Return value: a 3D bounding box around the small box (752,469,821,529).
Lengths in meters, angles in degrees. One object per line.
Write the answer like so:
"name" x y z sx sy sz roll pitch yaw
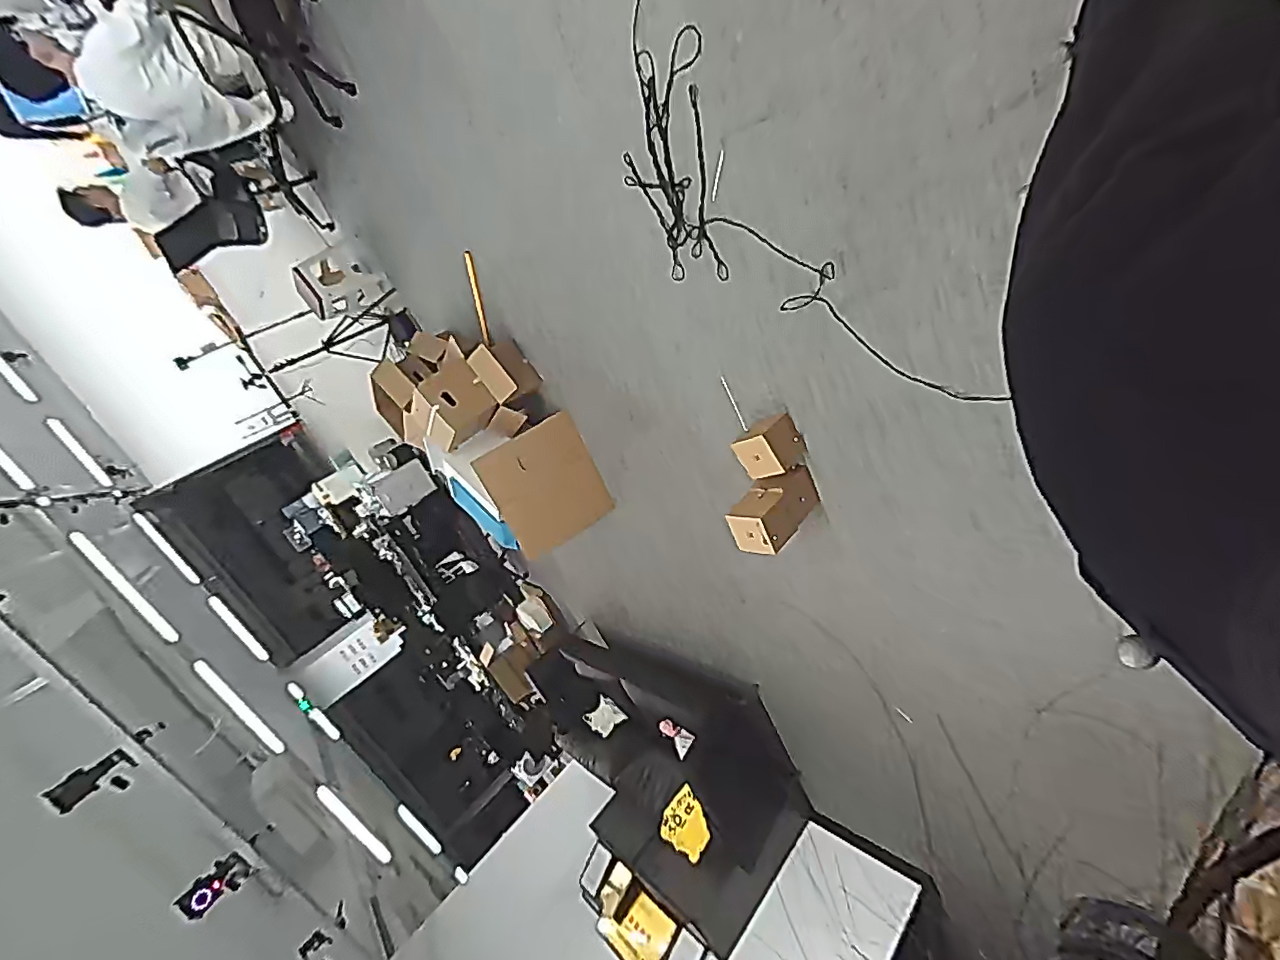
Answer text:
"small box" 0.570 0.067 2.096 0.168 0.176 0.179 0 124 54

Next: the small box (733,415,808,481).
"small box" 0.486 -0.118 2.009 0.168 0.176 0.179 56 149 -11

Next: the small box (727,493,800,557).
"small box" 0.463 0.162 2.015 0.179 0.176 0.168 2 125 53
